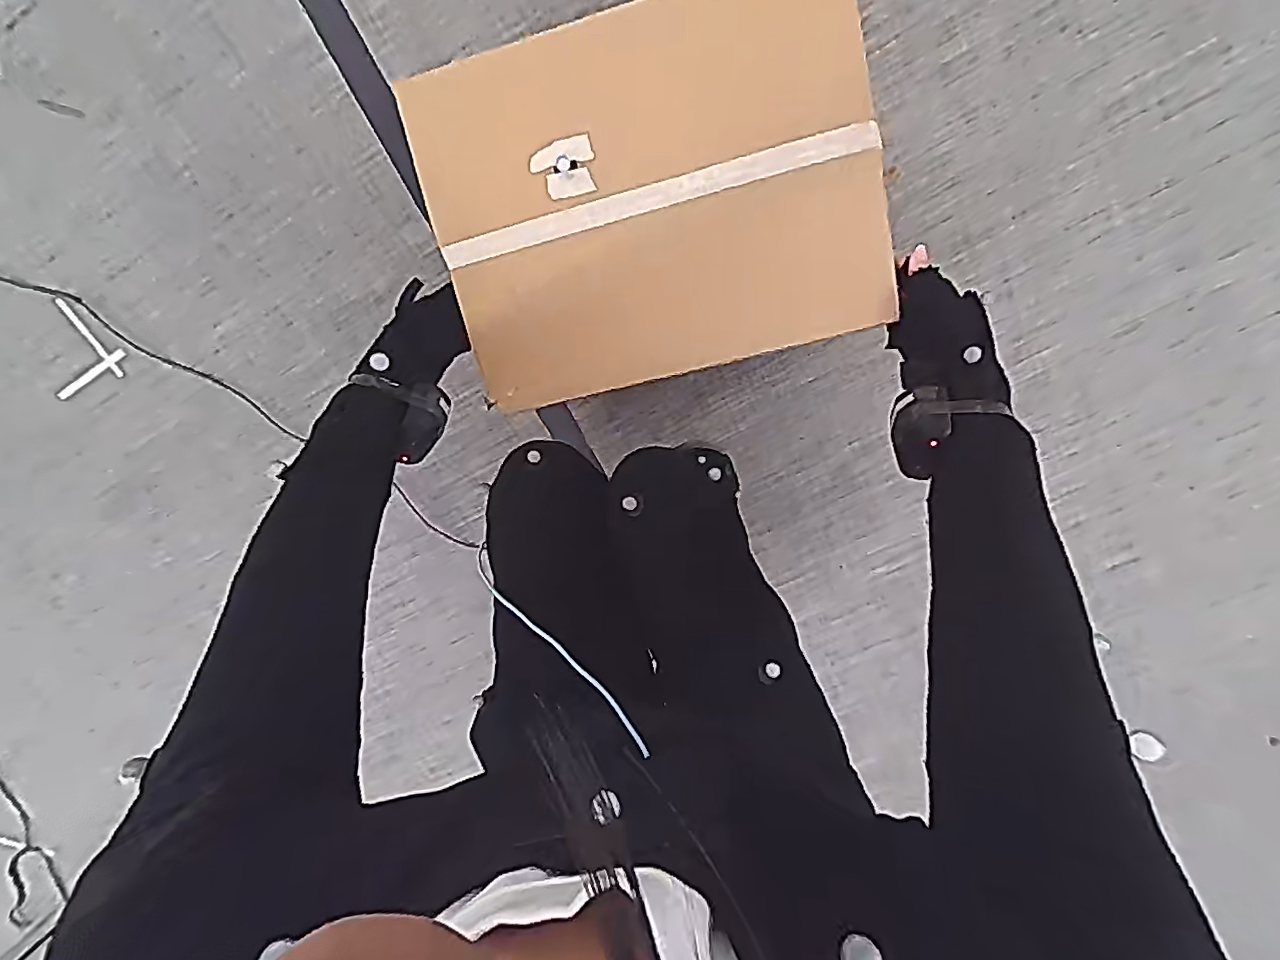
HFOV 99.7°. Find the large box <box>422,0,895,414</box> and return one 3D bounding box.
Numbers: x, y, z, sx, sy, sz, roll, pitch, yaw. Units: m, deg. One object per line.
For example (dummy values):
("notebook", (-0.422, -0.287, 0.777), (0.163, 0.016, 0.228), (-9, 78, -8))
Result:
("large box", (0.033, -0.293, 0.659), (0.408, 0.320, 0.320), (-12, 100, 9))
